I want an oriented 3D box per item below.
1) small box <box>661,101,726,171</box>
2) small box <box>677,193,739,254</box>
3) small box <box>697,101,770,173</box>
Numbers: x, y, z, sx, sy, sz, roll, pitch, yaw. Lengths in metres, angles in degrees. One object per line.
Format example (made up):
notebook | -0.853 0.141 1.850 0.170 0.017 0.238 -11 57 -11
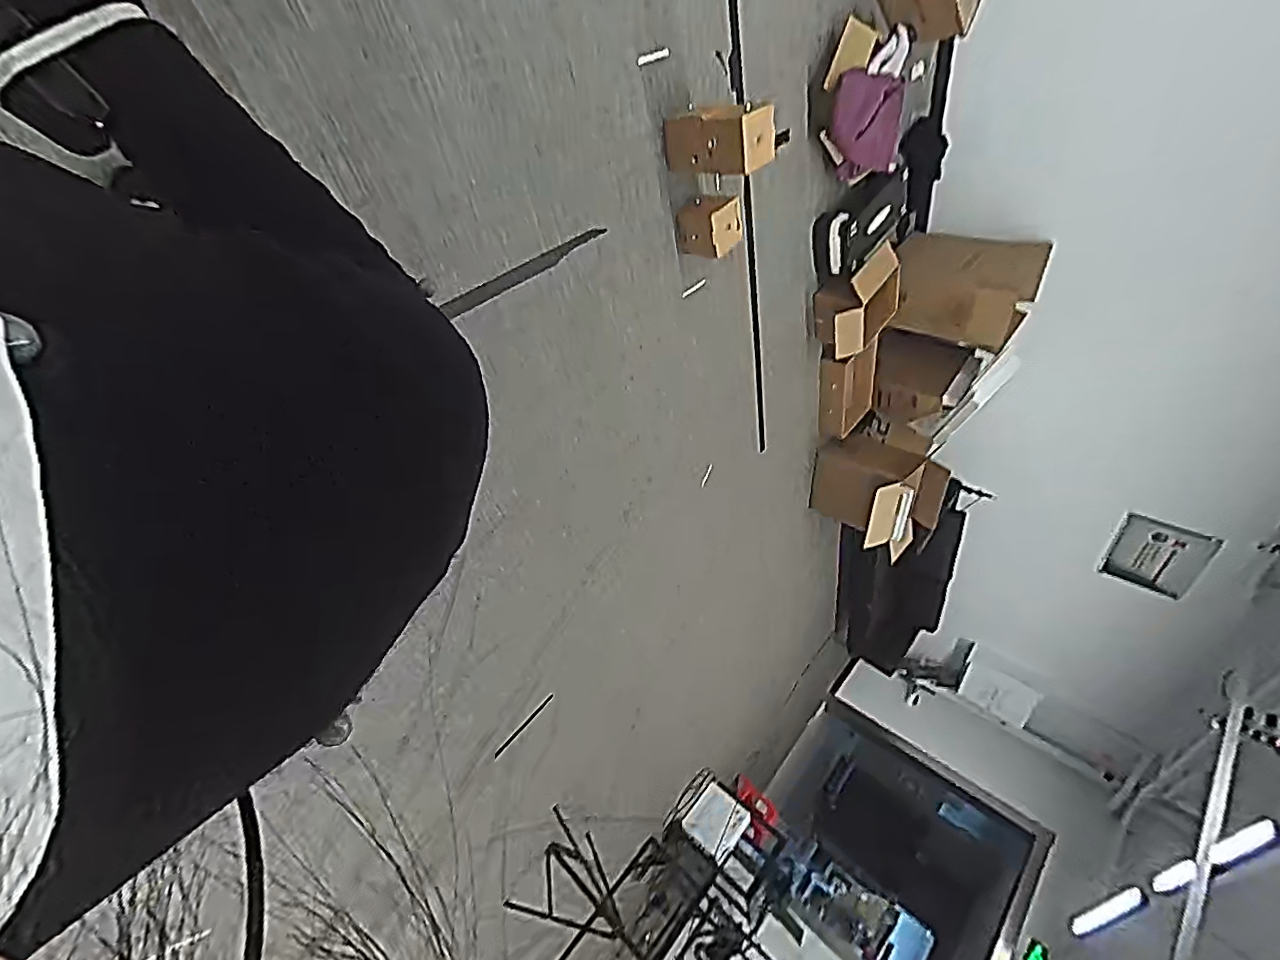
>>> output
small box | 0.193 -1.206 1.898 0.168 0.176 0.179 -41 137 -28
small box | 0.259 -1.000 2.103 0.179 0.176 0.168 -43 139 -24
small box | 0.314 -1.147 1.808 0.179 0.176 0.168 -41 136 -26
